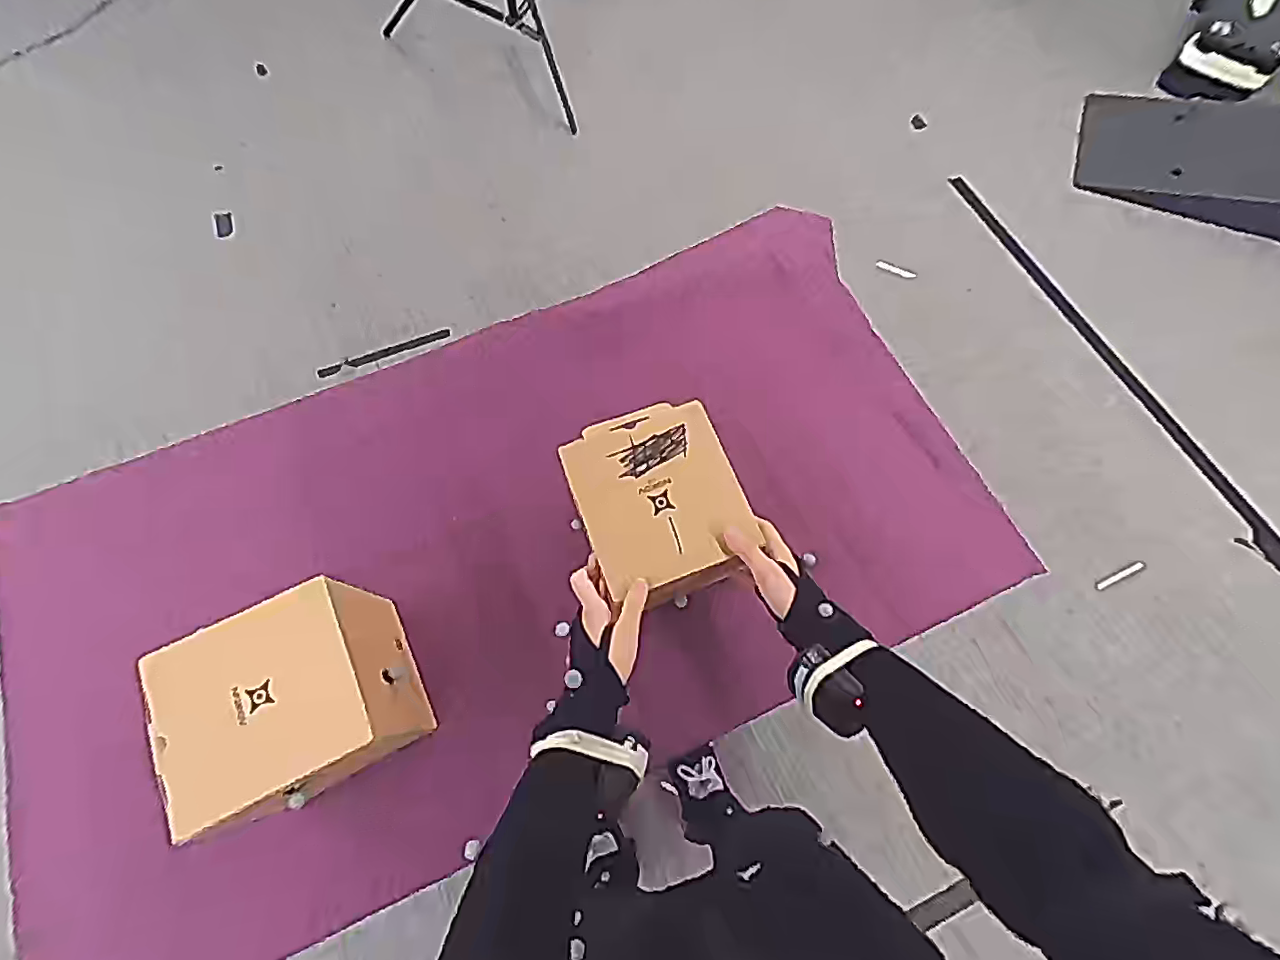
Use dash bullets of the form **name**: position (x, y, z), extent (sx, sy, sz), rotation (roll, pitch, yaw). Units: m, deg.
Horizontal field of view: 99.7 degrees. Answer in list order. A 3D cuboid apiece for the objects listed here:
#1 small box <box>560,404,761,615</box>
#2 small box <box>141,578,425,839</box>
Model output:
- **small box**: position (0.016, 0.043, 0.632), extent (0.168, 0.176, 0.179), rotation (-20, 73, -7)
- **small box**: position (-0.347, 0.223, 0.563), extent (0.179, 0.176, 0.168), rotation (-26, 72, -9)
